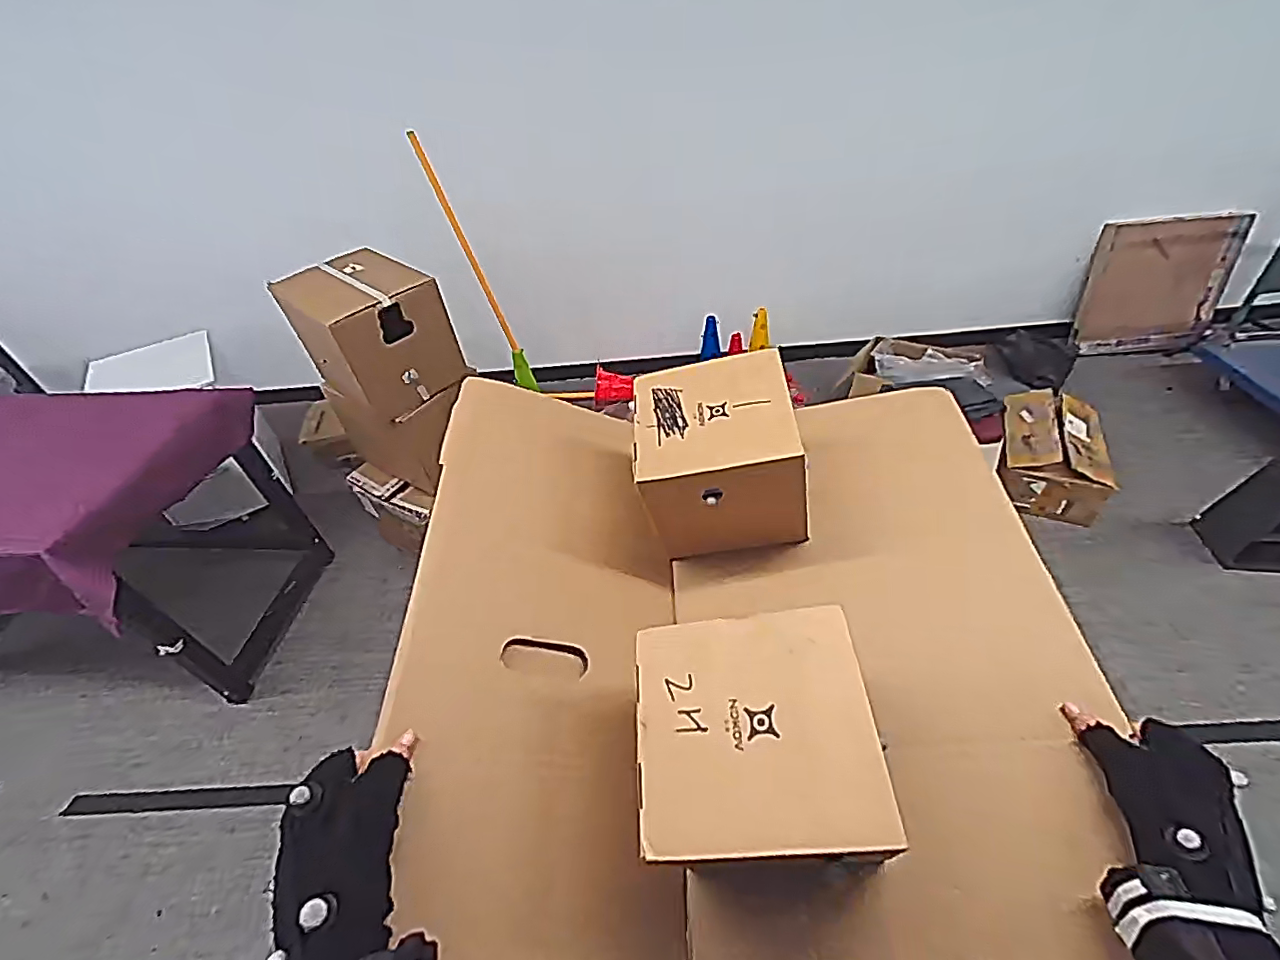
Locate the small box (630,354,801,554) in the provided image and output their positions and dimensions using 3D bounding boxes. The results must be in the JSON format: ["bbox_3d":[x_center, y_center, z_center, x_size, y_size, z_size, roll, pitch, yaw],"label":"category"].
[{"bbox_3d":[0.094,-0.023,0.667,0.179,0.176,0.168,-10,52,12],"label":"small box"}]

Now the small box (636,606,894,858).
[{"bbox_3d":[0.102,0.228,0.476,0.179,0.176,0.168,-11,52,12],"label":"small box"}]
